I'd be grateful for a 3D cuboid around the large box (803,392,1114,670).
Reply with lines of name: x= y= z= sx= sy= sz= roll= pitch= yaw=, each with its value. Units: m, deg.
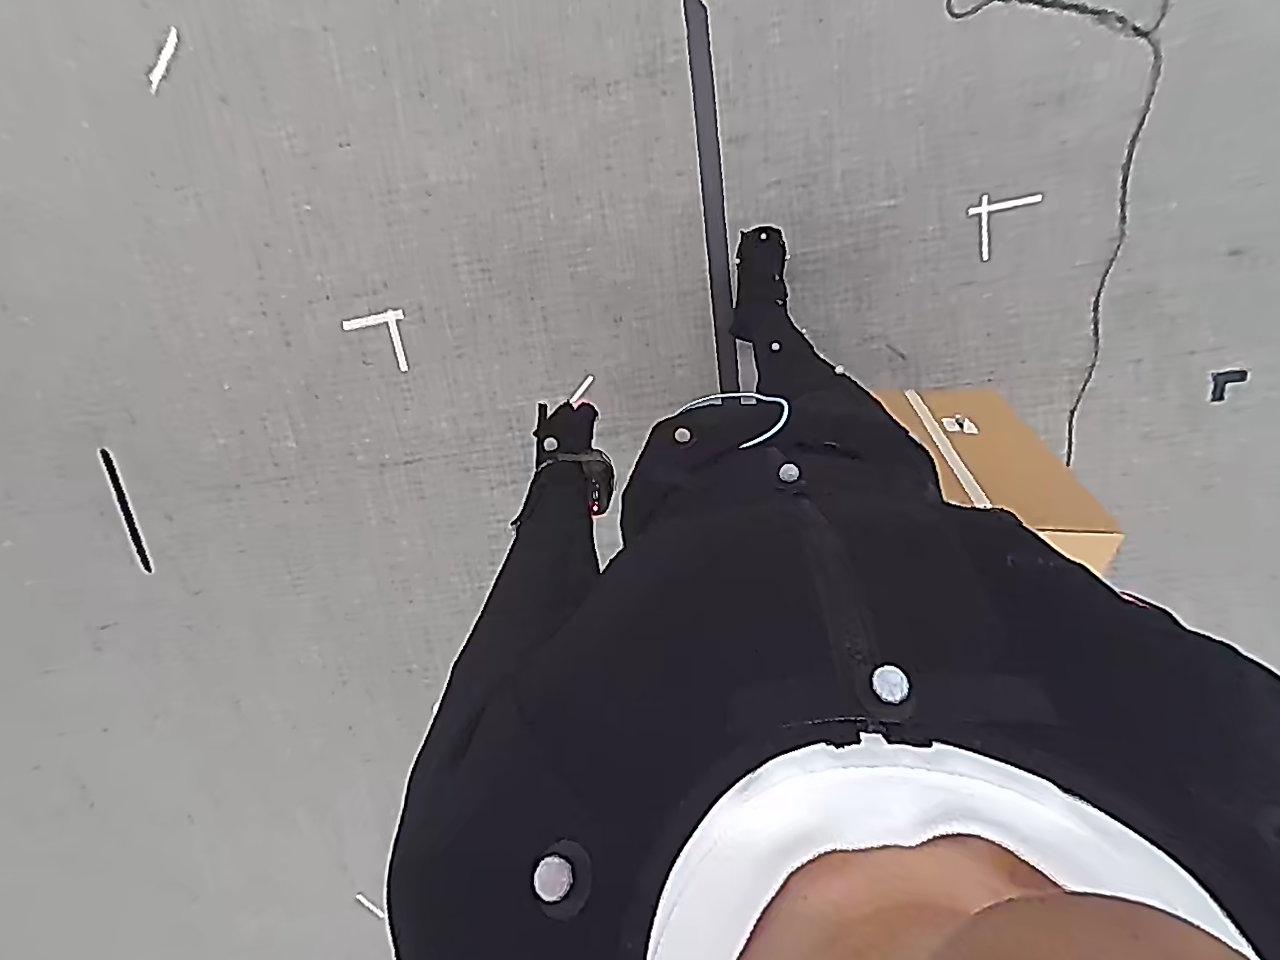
large box: x=0.486 y=0.072 z=0.951 sx=0.320 sy=0.408 sz=0.320 roll=2 pitch=123 yaw=6
